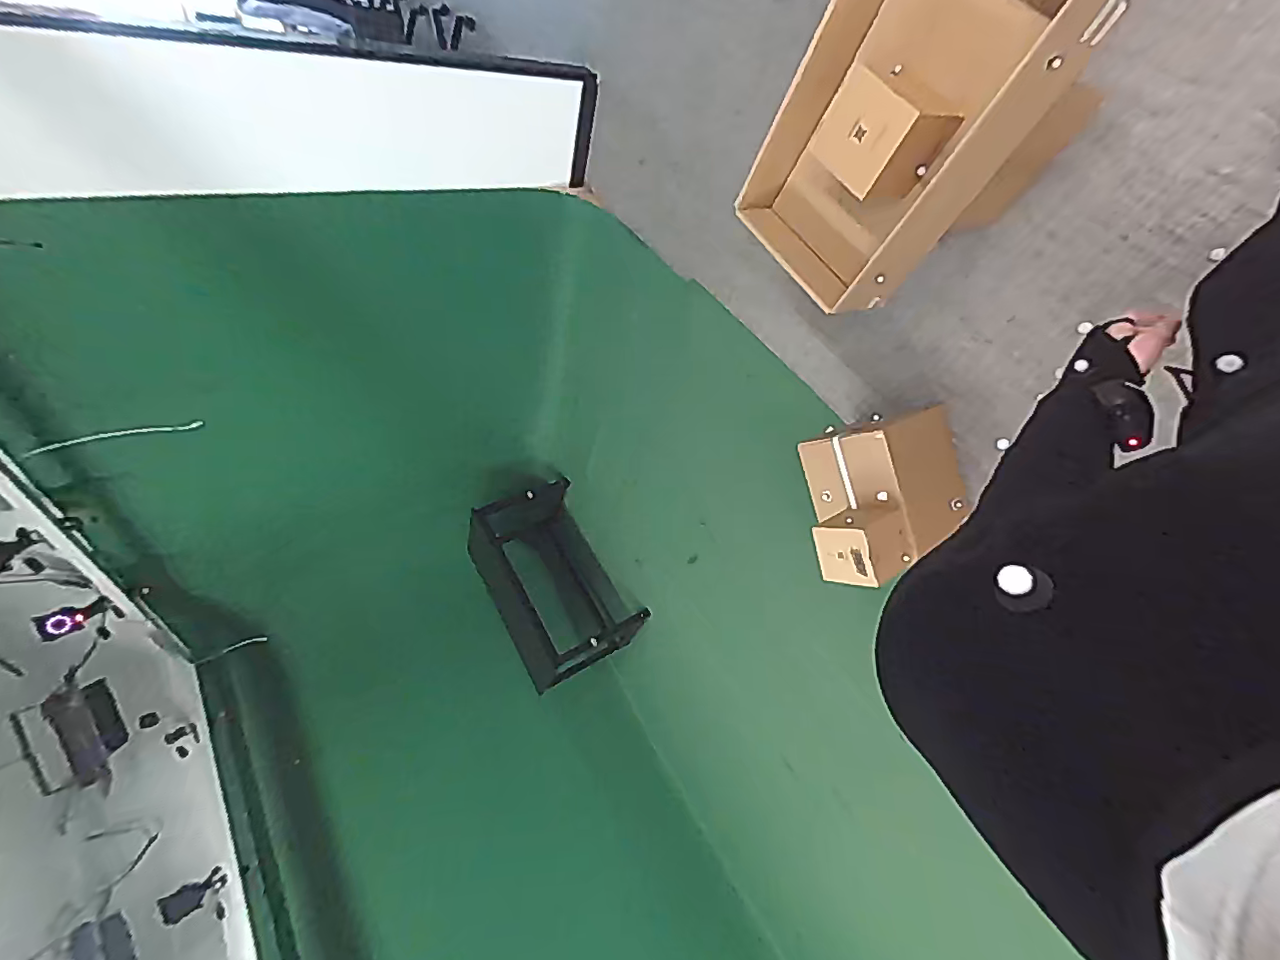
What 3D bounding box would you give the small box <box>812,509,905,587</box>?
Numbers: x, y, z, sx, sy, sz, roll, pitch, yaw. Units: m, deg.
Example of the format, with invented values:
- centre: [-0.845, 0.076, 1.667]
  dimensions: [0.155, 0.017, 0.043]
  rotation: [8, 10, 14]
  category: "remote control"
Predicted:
- centre: [0.621, 0.184, 1.523]
  dimensions: [0.179, 0.176, 0.168]
  rotation: [-4, 103, 58]
  category: "small box"
